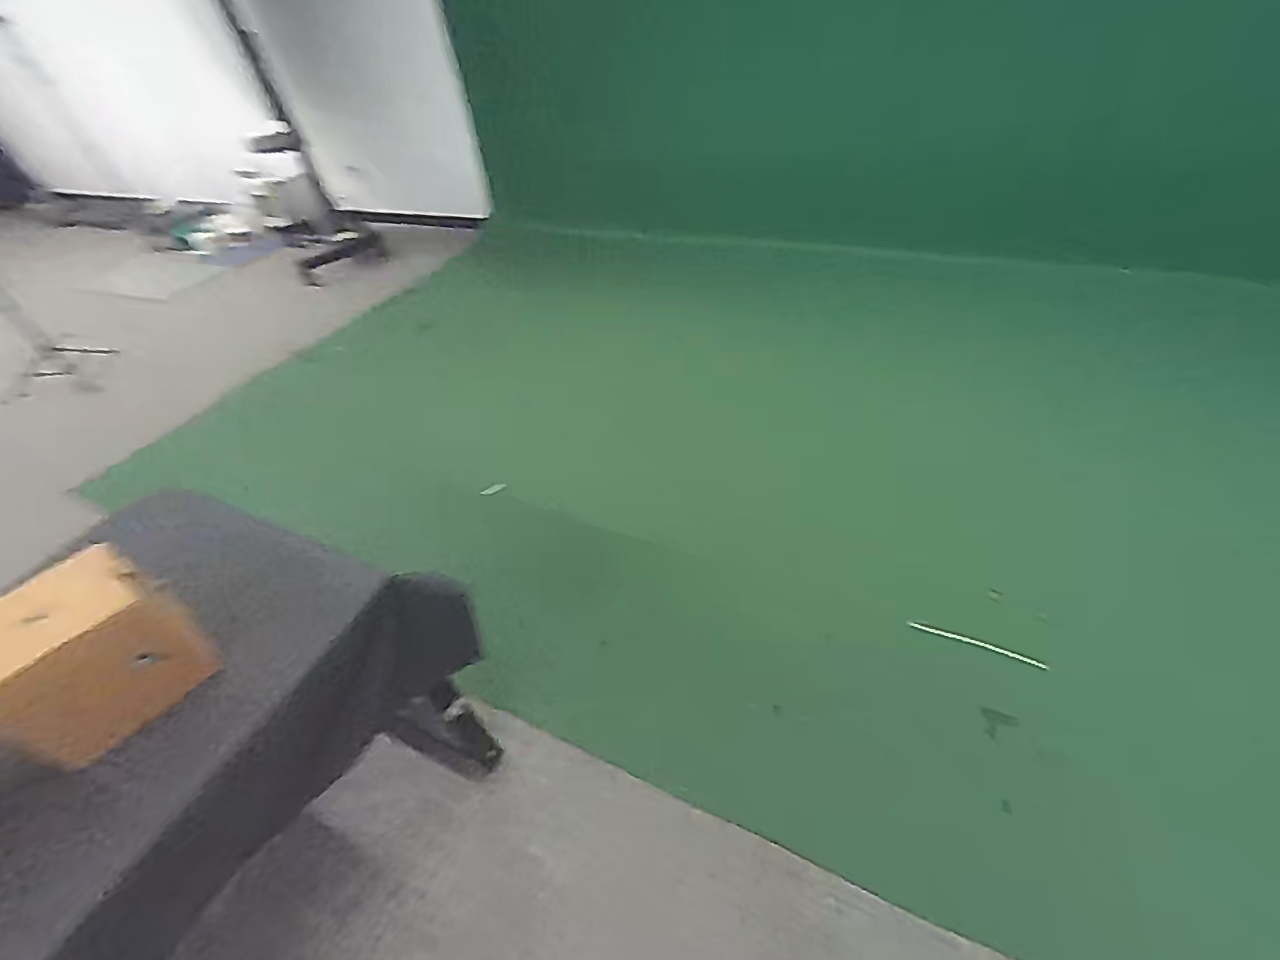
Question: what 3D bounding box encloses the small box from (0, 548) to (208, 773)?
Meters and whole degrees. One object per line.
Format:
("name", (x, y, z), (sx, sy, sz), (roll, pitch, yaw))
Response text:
("small box", (-0.704, 0.228, 0.690), (0.168, 0.176, 0.179), (25, 54, 31))
